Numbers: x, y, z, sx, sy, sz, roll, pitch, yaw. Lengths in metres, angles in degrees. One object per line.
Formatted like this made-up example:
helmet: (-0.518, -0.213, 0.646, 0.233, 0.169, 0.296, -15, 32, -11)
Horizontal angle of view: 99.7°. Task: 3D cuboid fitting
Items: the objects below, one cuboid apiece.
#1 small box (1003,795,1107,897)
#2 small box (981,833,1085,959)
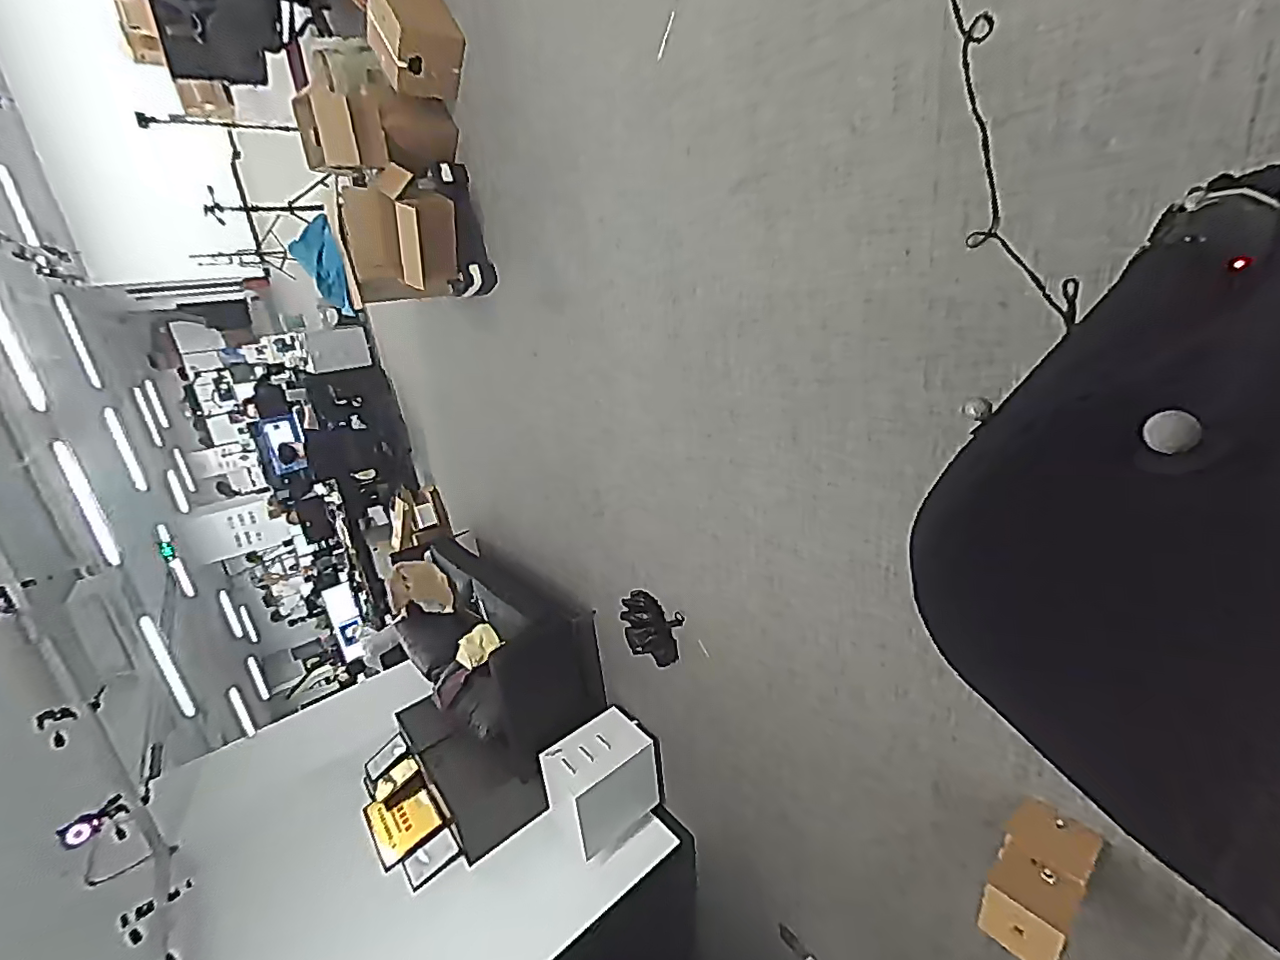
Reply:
small box: (1.118, 1.000, 1.467, 0.179, 0.176, 0.168, 20, 123, 48)
small box: (0.998, 1.060, 1.374, 0.168, 0.176, 0.179, 18, 120, 47)
